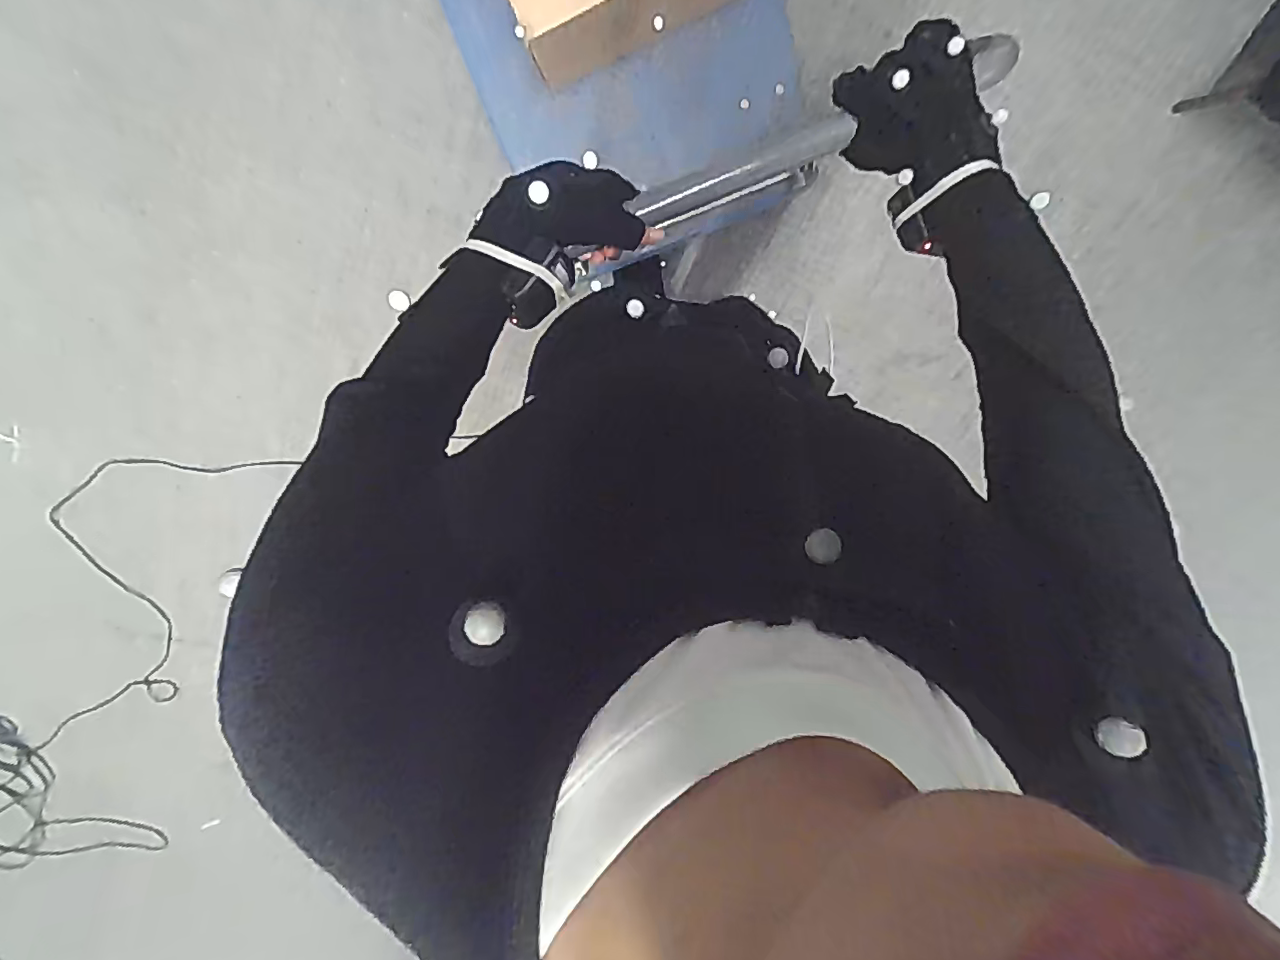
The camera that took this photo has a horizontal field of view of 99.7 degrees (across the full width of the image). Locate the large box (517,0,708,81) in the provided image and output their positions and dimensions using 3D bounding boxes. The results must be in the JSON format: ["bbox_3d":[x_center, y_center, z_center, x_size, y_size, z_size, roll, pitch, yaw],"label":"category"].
[{"bbox_3d":[-0.031,-0.882,0.797,0.408,0.320,0.320,-22,113,9],"label":"large box"}]
